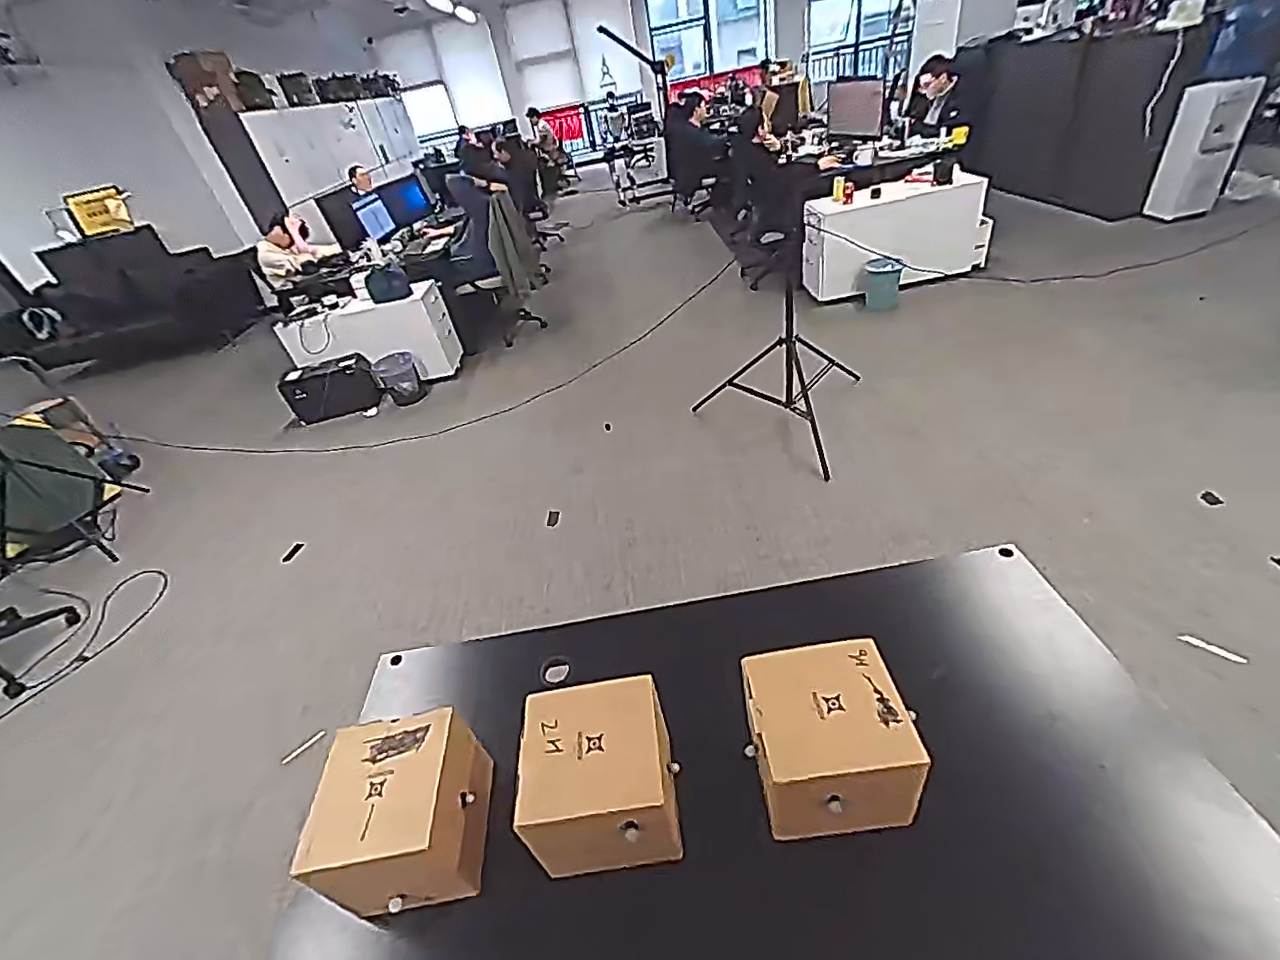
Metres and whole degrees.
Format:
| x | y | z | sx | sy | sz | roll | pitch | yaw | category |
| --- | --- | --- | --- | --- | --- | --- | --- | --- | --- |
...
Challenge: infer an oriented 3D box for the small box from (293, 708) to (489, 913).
| x | y | z | sx | sy | sz | roll | pitch | yaw | category |
| --- | --- | --- | --- | --- | --- | --- | --- | --- | --- |
| -0.315 | 0.445 | 0.732 | 0.168 | 0.176 | 0.179 | -12 | 38 | 1 | small box |

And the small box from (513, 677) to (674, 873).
| x | y | z | sx | sy | sz | roll | pitch | yaw | category |
| --- | --- | --- | --- | --- | --- | --- | --- | --- | --- |
| -0.052 | 0.393 | 0.722 | 0.179 | 0.176 | 0.168 | -11 | 37 | 3 | small box |

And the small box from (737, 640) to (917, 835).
| x | y | z | sx | sy | sz | roll | pitch | yaw | category |
| --- | --- | --- | --- | --- | --- | --- | --- | --- | --- |
| 0.235 | 0.339 | 0.709 | 0.179 | 0.176 | 0.168 | -10 | 37 | 4 | small box |
